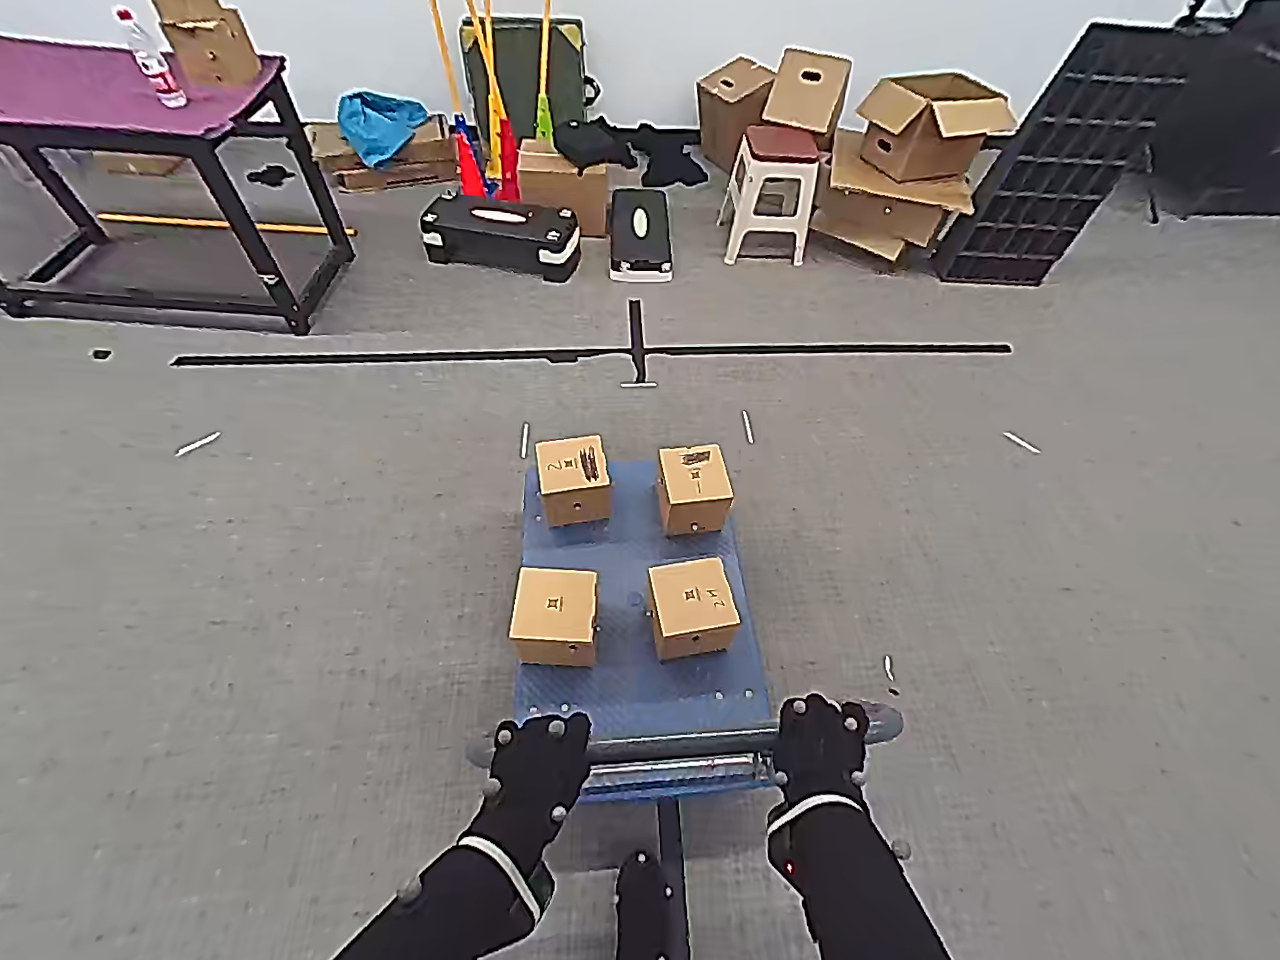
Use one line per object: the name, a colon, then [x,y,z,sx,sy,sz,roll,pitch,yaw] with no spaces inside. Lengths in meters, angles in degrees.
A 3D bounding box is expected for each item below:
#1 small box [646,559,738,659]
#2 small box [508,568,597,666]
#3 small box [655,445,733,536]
small box: [0.112,0.304,1.259,0.179,0.176,0.168,-7,56,-8]
small box: [-0.191,0.316,1.234,0.179,0.176,0.168,4,54,-2]
small box: [0.138,0.029,1.453,0.168,0.176,0.179,-6,56,-7]
